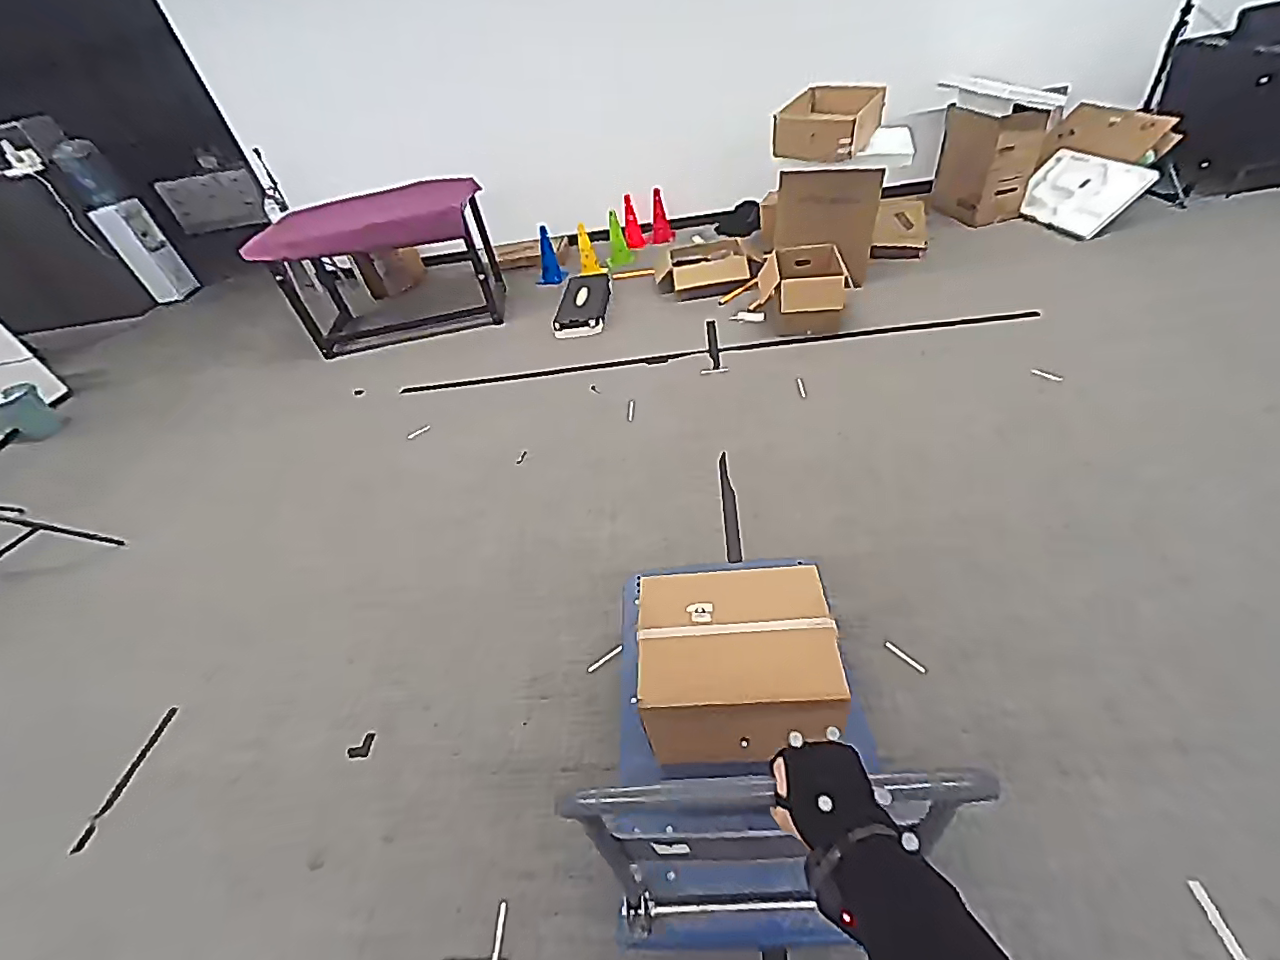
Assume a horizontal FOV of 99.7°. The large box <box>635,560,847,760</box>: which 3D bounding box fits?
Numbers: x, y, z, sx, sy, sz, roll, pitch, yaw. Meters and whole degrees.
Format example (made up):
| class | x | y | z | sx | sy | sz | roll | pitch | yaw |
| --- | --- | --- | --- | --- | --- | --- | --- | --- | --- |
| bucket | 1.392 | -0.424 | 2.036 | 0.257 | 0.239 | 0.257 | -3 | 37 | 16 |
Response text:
| class | x | y | z | sx | sy | sz | roll | pitch | yaw |
| --- | --- | --- | --- | --- | --- | --- | --- | --- | --- |
| large box | 0.215 | 0.414 | 1.227 | 0.408 | 0.320 | 0.320 | -7 | 42 | 8 |
